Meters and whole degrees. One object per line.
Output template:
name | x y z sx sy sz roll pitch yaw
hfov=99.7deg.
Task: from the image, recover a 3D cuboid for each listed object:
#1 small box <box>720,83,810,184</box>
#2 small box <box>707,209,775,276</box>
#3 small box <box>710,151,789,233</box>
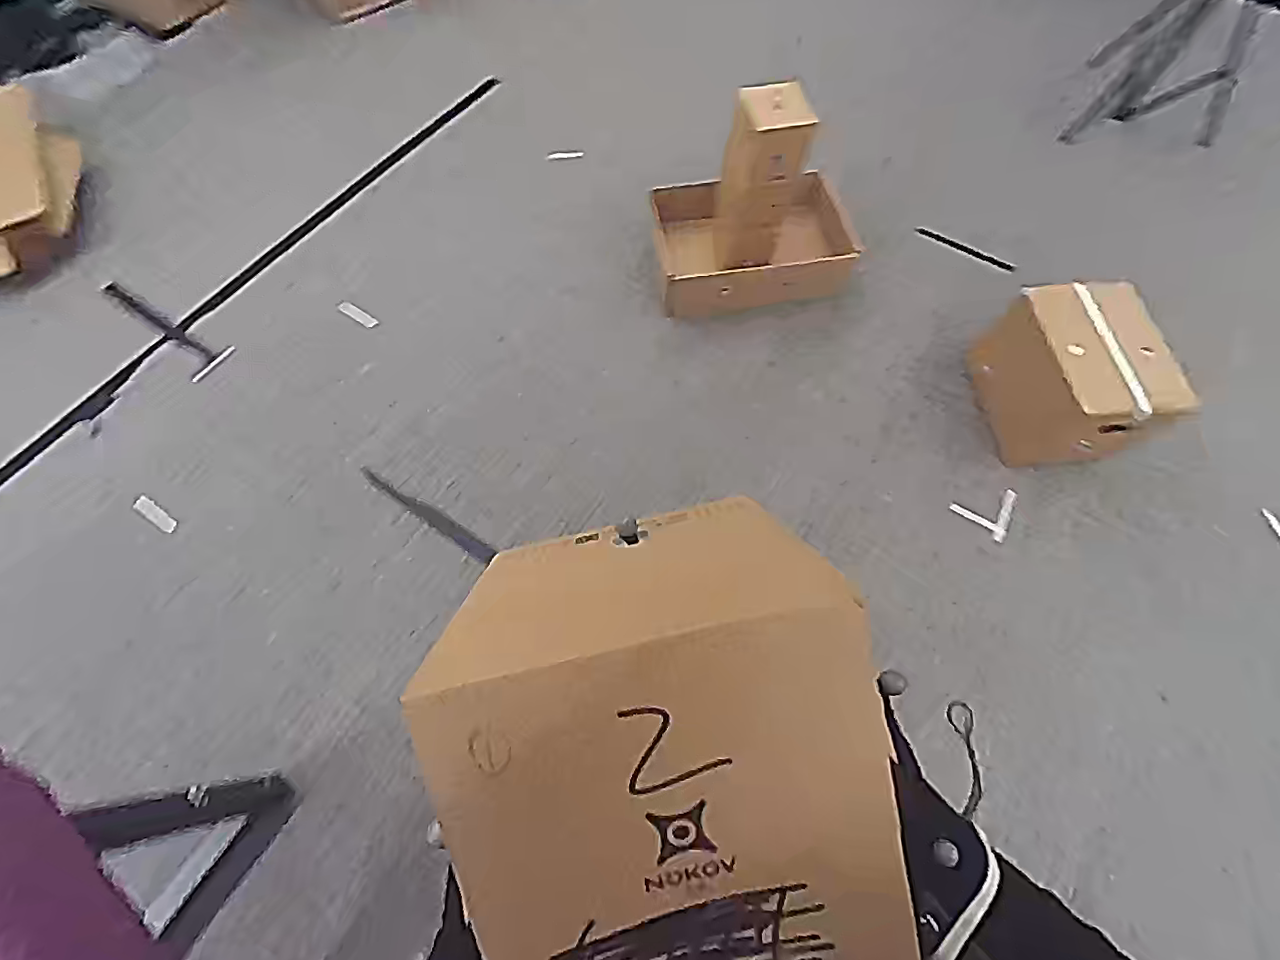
small box | 0.334 -0.938 1.480 0.168 0.176 0.179 -13 68 -9
small box | 0.325 -0.805 1.780 0.168 0.176 0.179 -10 68 -6
small box | 0.323 -0.871 1.632 0.168 0.176 0.179 -13 66 -9
